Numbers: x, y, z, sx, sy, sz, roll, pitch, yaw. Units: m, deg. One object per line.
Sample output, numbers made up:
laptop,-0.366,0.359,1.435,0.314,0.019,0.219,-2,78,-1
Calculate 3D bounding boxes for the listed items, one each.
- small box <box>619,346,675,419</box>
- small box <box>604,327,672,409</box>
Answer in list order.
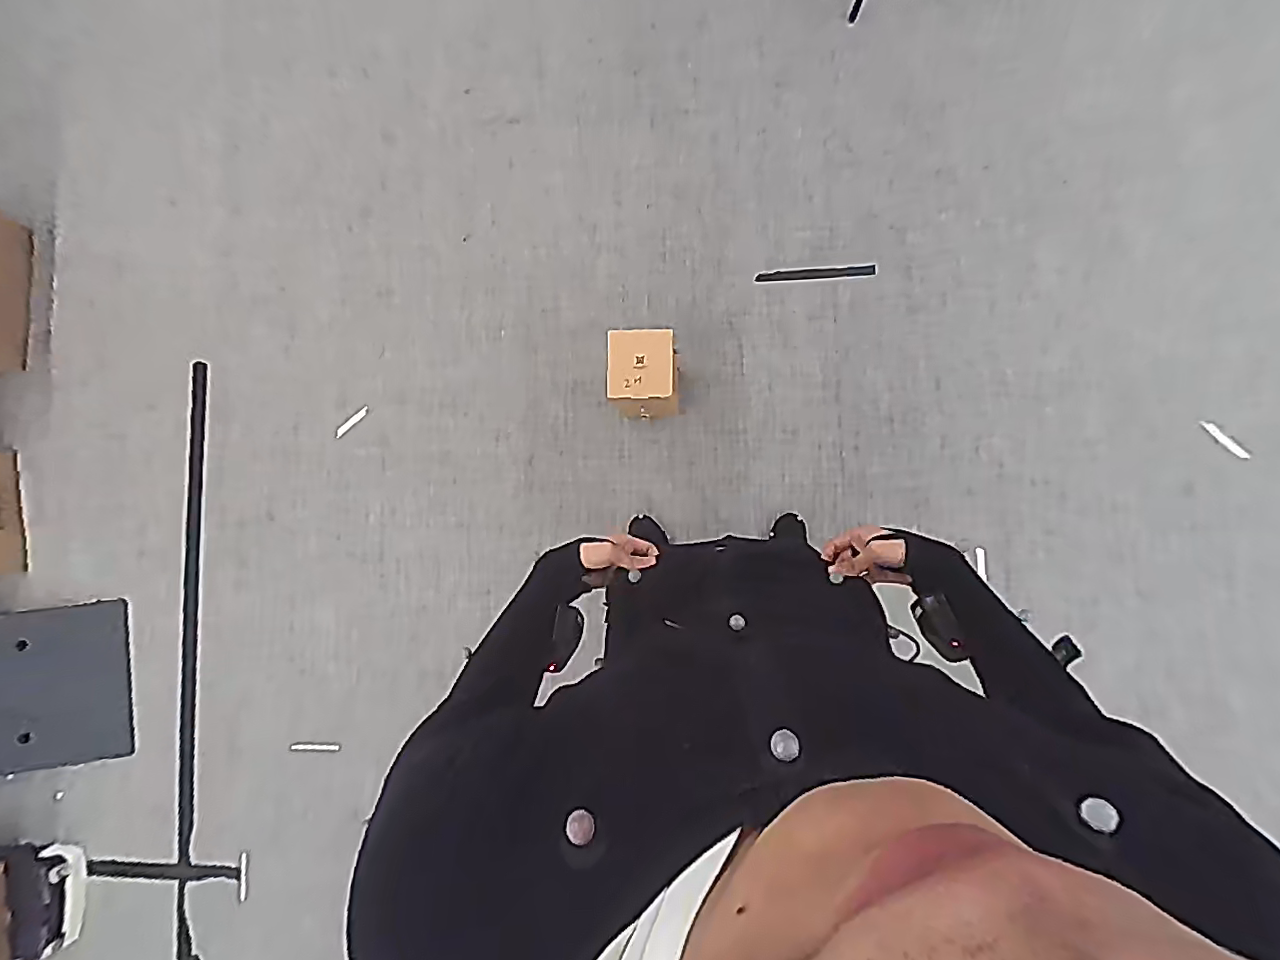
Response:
small box,0.018,-0.282,1.583,0.168,0.176,0.179,1,86,5
small box,-0.001,-0.288,1.420,0.168,0.176,0.179,0,87,5
